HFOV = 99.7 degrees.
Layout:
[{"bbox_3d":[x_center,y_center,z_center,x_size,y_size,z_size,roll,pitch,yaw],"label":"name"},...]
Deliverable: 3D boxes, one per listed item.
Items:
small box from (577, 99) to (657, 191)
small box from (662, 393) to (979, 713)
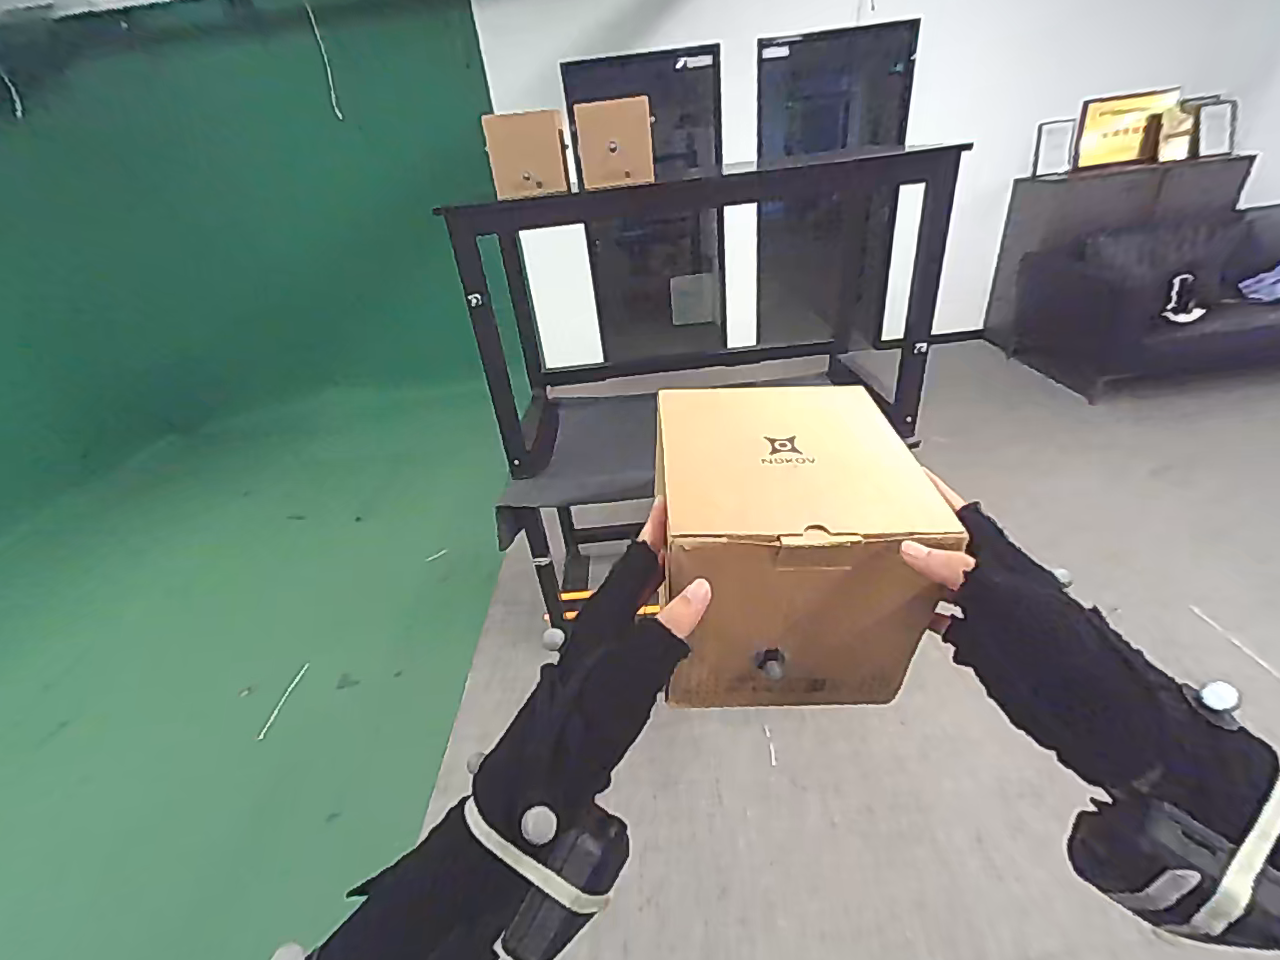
[{"bbox_3d":[-0.050,-0.798,1.299,0.168,0.176,0.179,-5,31,2],"label":"small box"},{"bbox_3d":[0.103,0.048,0.408,0.168,0.176,0.179,-1,37,0],"label":"small box"}]
